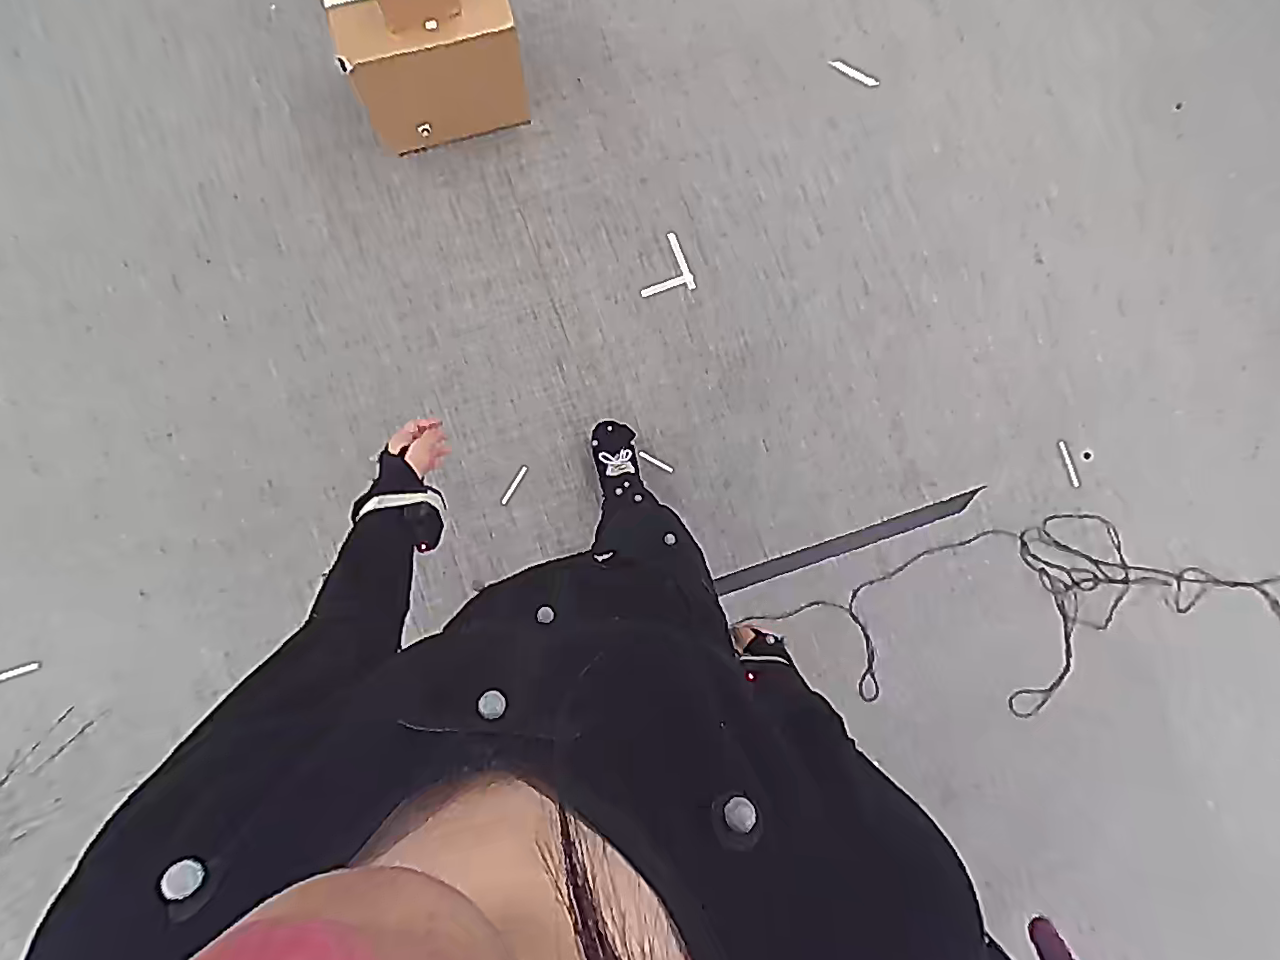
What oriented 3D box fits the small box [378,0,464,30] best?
[{"bbox_3d":[-0.502,-1.119,1.157,0.179,0.176,0.168,-19,89,-6],"label":"small box"}]
